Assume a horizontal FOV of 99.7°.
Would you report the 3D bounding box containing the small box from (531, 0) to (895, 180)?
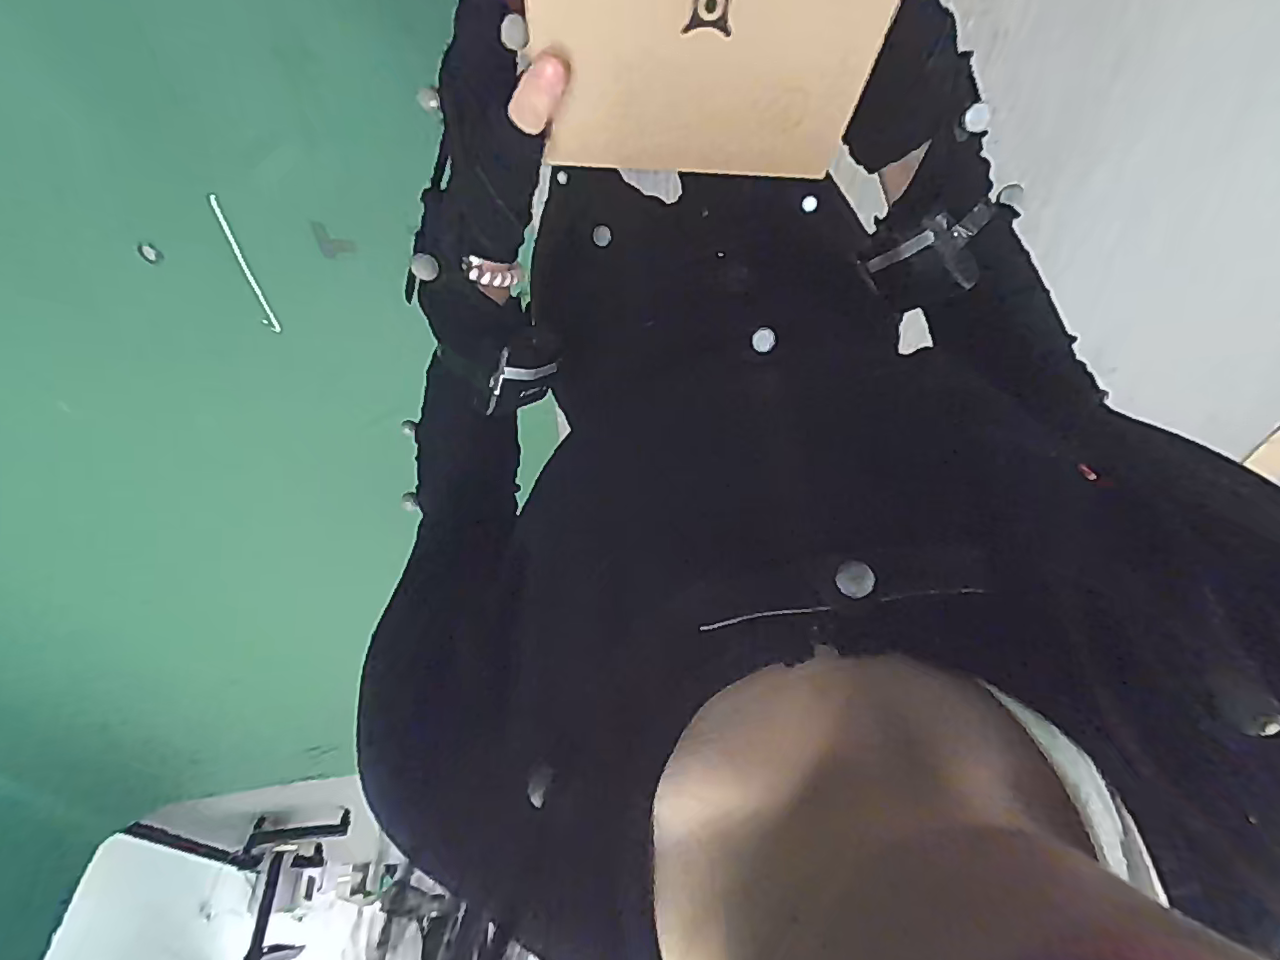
[{"bbox_3d":[0.030,-0.288,0.271,0.168,0.176,0.179,-1,154,-6],"label":"small box"}]
